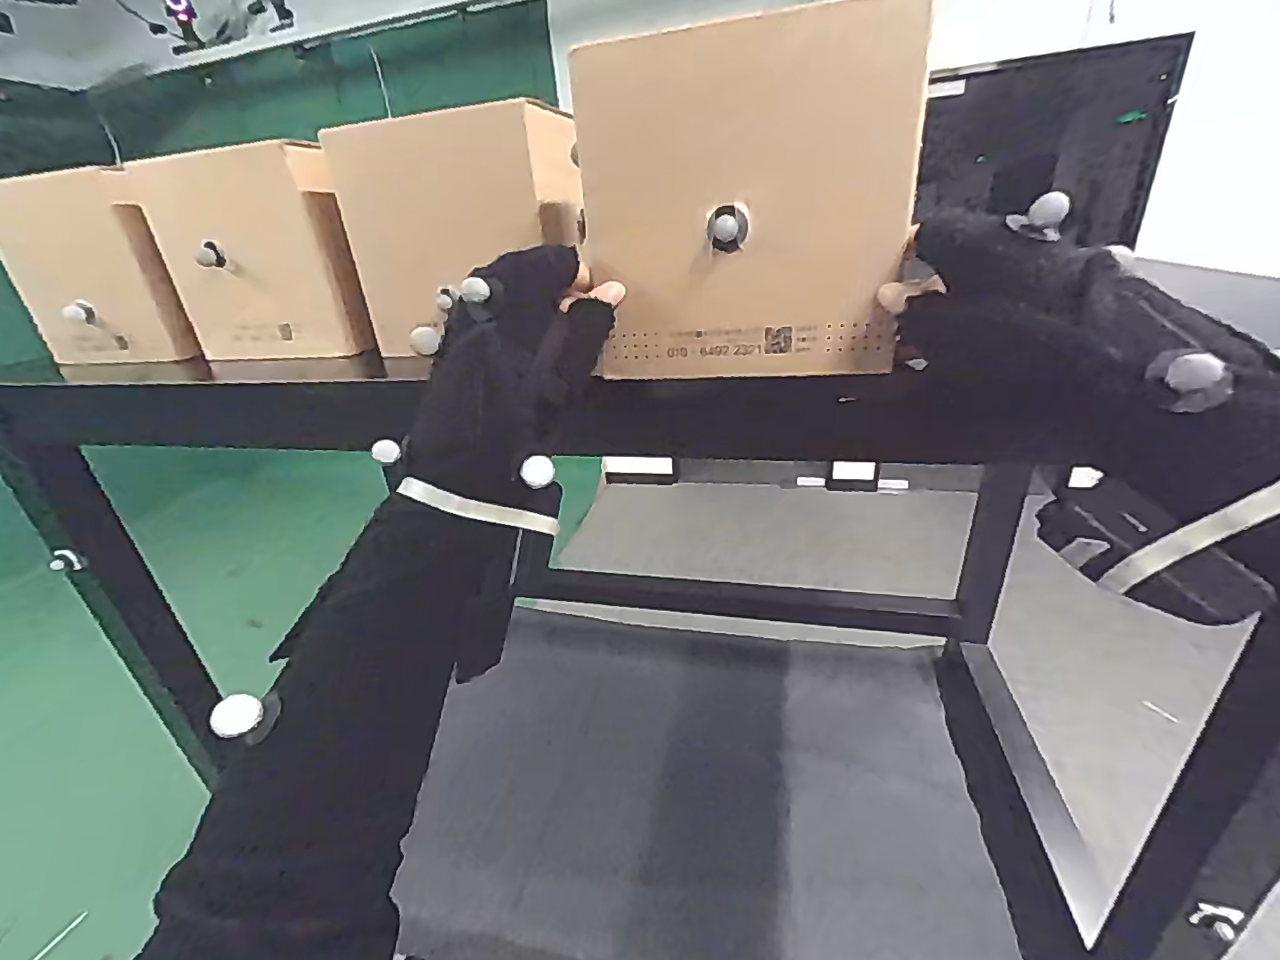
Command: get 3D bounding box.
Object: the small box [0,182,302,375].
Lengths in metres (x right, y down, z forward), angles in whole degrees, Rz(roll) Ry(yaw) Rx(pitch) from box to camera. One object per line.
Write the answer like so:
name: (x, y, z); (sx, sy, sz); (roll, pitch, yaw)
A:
small box: (-0.509, -0.219, 0.589); (0.168, 0.176, 0.179); (1, 27, 14)

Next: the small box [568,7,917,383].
small box: (0.068, -0.165, 0.357); (0.168, 0.176, 0.179); (2, 26, 13)
